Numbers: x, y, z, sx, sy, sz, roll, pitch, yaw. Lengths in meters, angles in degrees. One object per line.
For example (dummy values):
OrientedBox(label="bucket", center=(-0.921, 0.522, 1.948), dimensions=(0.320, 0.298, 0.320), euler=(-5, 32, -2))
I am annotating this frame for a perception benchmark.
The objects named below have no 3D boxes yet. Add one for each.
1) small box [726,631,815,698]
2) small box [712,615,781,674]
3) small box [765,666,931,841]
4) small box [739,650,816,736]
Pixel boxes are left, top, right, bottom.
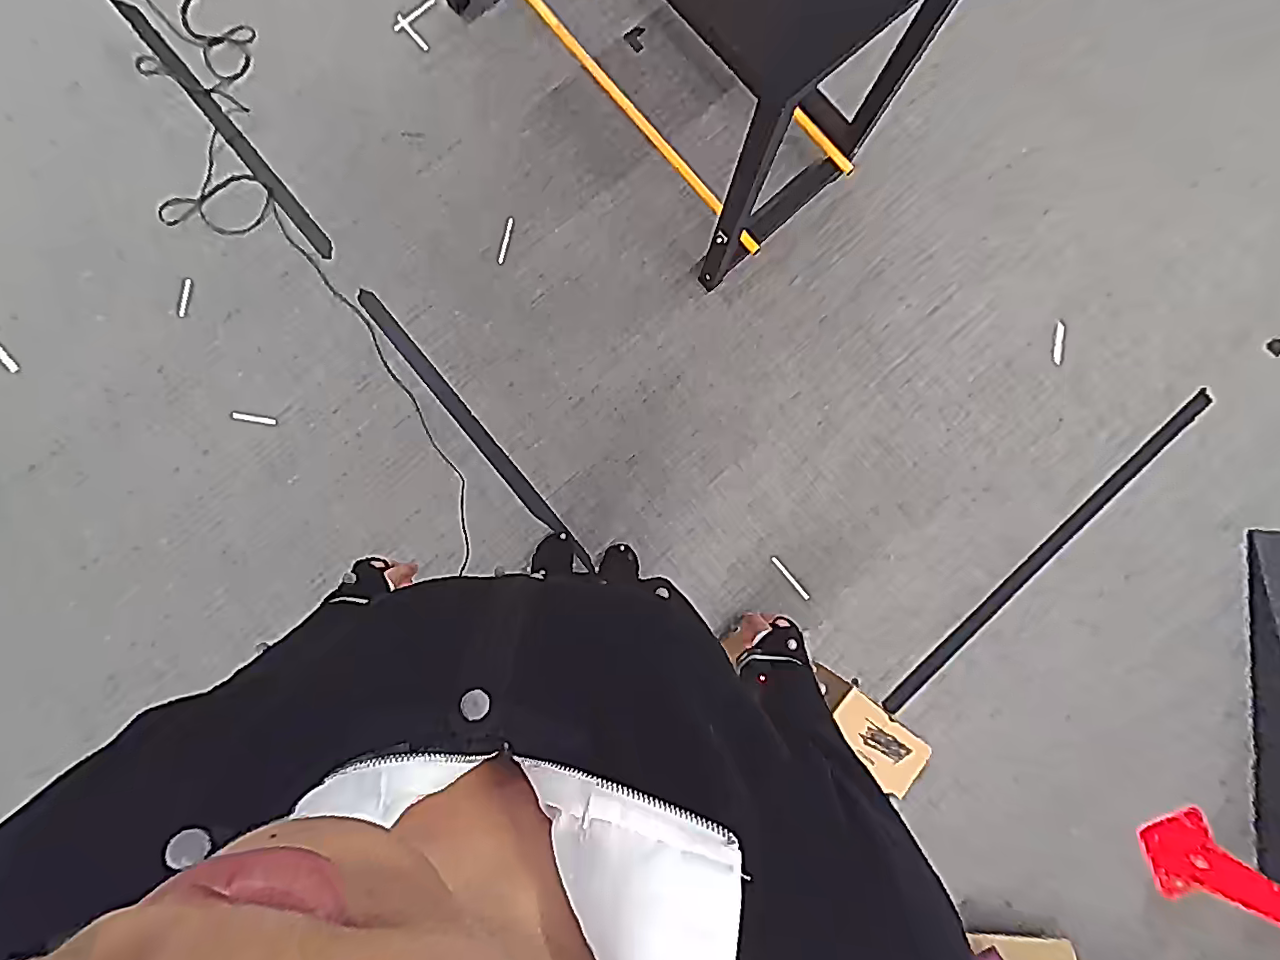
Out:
OrientedBox(label="small box", center=(0.328, 0.473, 1.252), dimensions=(0.179, 0.176, 0.168), euler=(41, 83, 1))
OrientedBox(label="small box", center=(0.313, 0.477, 1.416), dimensions=(0.168, 0.176, 0.179), euler=(-44, 87, -6))
OrientedBox(label="small box", center=(0.340, 0.449, 0.923), dimensions=(0.168, 0.176, 0.179), euler=(39, 84, 0))
OrientedBox(label="small box", center=(0.325, 0.464, 1.088), dimensions=(0.179, 0.176, 0.168), euler=(39, 83, 1))
